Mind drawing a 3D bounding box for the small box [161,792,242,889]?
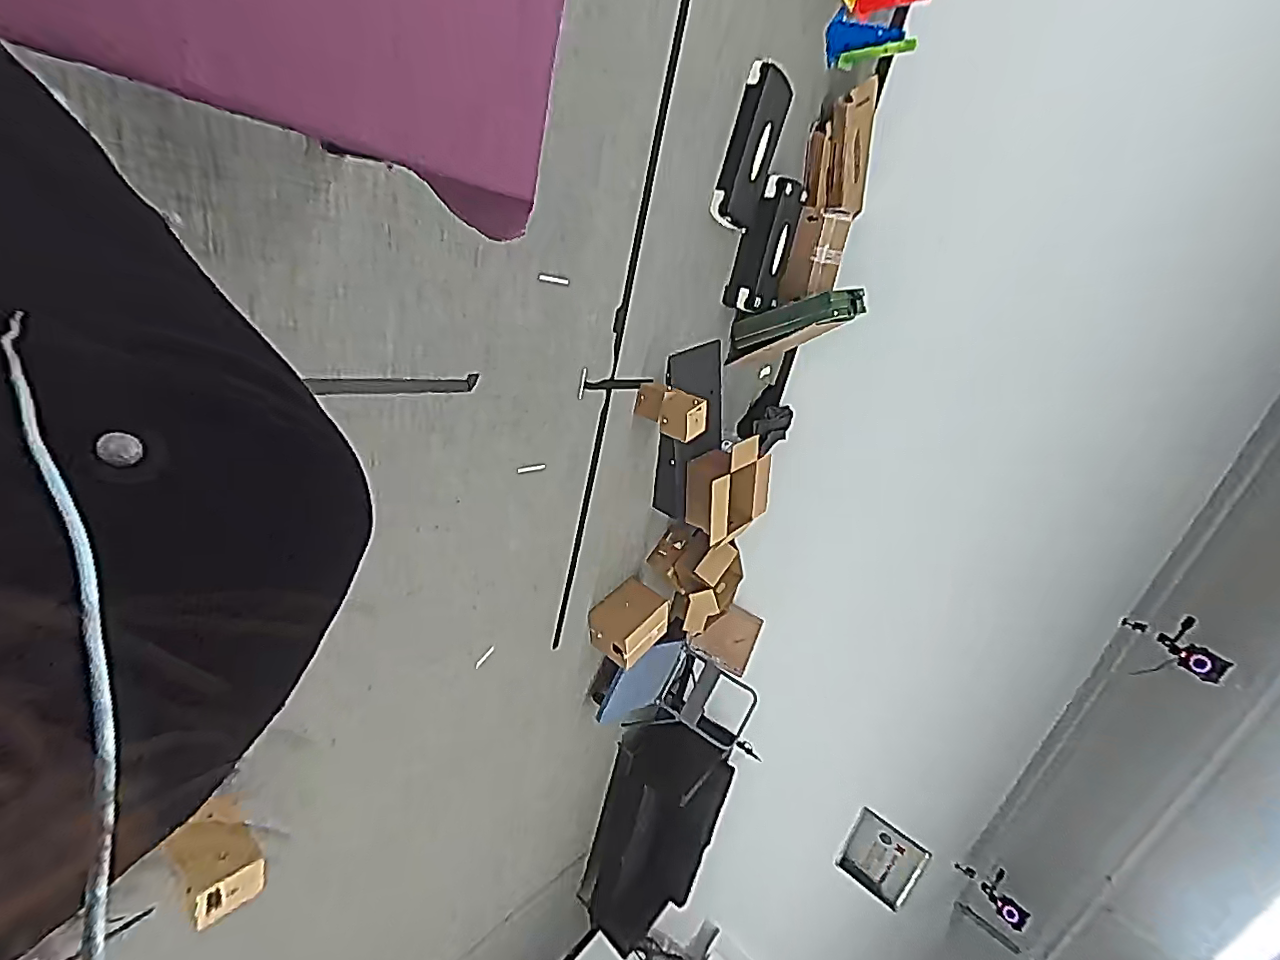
[{"bbox_3d":[-1.429,1.160,1.761,0.168,0.176,0.179,-13,125,-52],"label":"small box"}]
